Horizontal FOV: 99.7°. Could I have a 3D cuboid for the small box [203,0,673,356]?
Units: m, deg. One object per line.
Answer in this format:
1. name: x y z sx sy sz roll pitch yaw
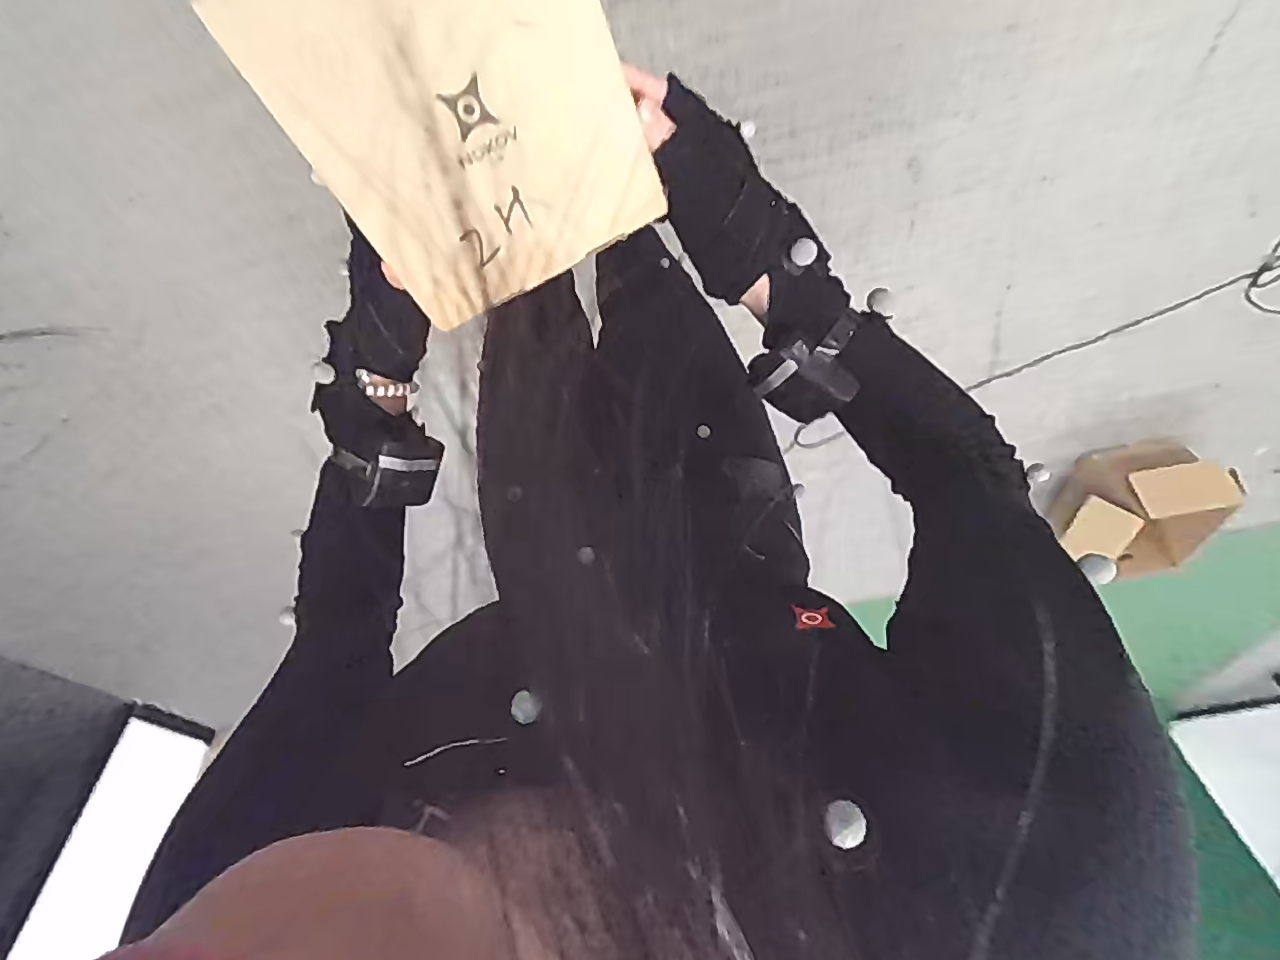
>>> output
1. small box: -0.104 -0.217 0.334 0.168 0.176 0.179 -27 135 4
